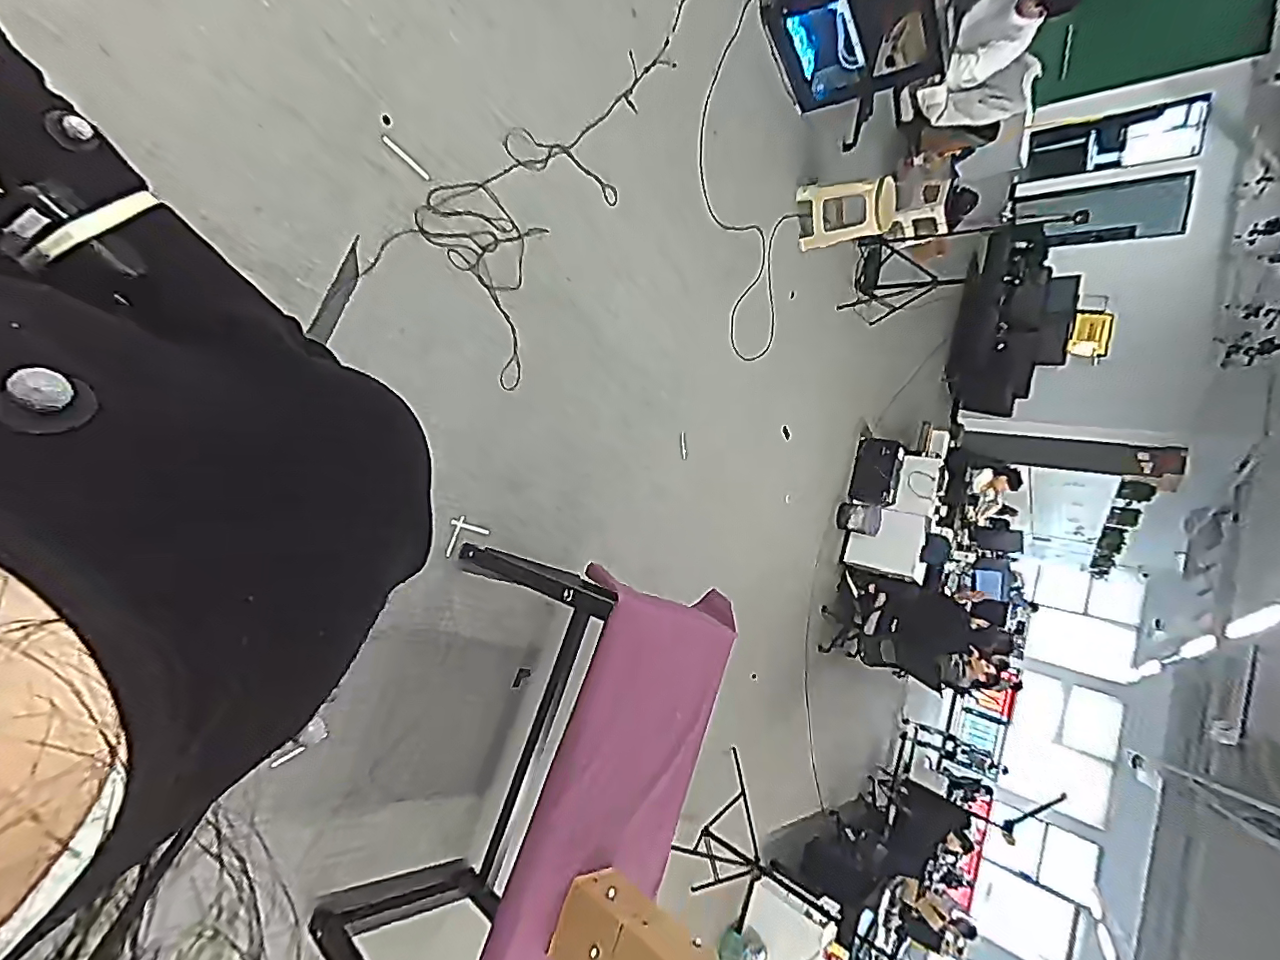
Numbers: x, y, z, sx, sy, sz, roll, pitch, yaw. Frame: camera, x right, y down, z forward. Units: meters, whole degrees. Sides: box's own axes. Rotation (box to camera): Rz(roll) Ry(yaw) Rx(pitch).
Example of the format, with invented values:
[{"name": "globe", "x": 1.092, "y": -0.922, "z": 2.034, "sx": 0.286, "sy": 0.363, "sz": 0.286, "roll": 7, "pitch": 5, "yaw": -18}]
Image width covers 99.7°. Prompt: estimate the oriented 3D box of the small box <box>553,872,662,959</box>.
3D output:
[{"name": "small box", "x": -0.079, "y": 1.070, "z": 1.285, "sx": 0.168, "sy": 0.176, "sz": 0.179, "roll": 34, "pitch": 73, "yaw": -48}]
